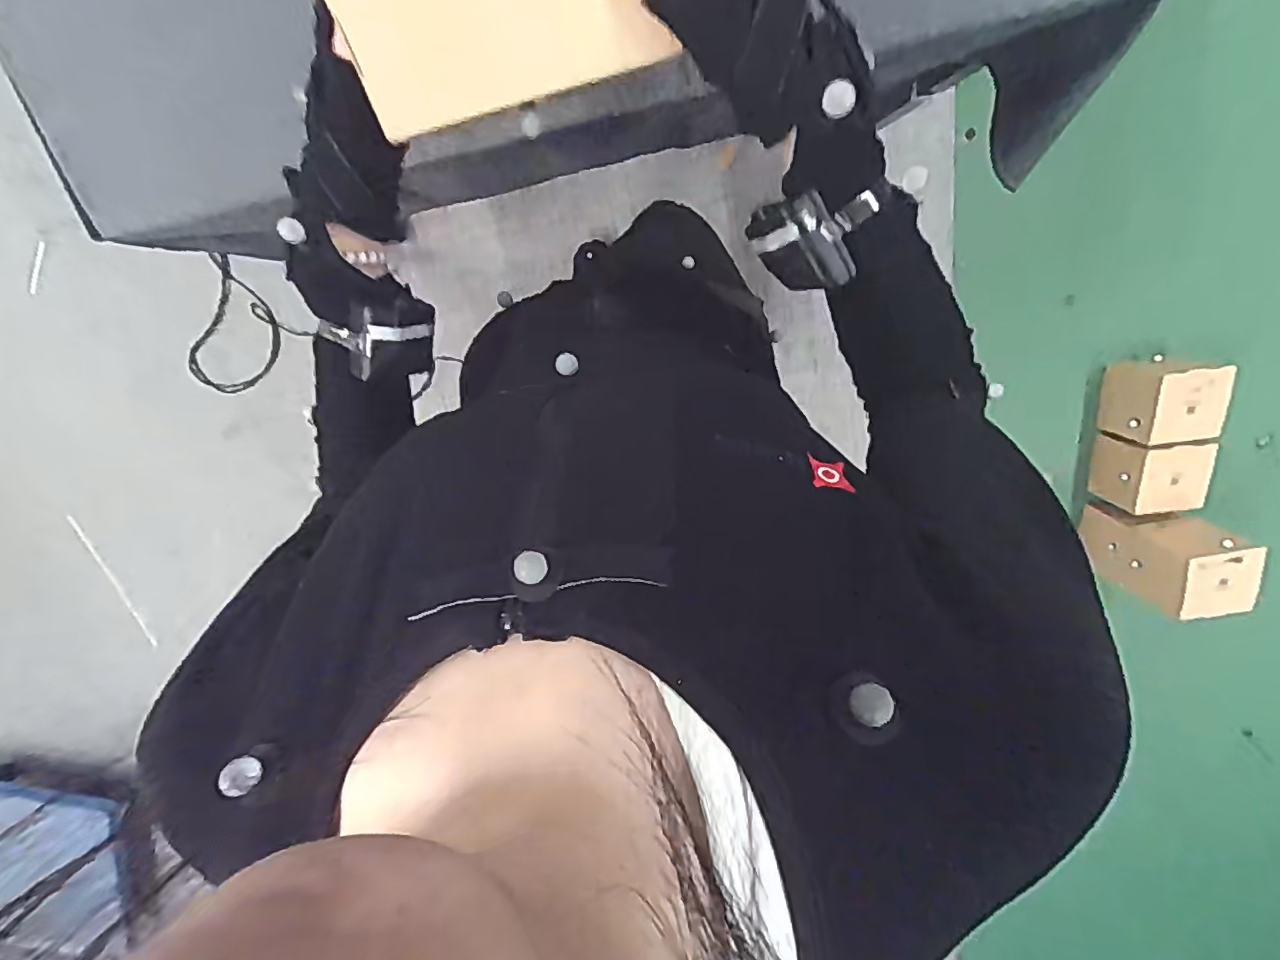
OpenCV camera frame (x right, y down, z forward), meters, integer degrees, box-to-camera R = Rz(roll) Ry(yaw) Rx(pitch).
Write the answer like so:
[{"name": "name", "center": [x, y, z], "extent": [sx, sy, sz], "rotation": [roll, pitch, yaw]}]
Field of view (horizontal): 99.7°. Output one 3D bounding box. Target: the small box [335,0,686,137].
[{"name": "small box", "center": [-0.083, -0.325, 0.323], "extent": [0.179, 0.176, 0.168], "rotation": [-14, 124, 4]}]

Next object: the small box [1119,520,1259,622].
[{"name": "small box", "center": [1.345, 0.221, 1.340], "extent": [0.168, 0.176, 0.179], "rotation": [-10, 111, 4]}]
